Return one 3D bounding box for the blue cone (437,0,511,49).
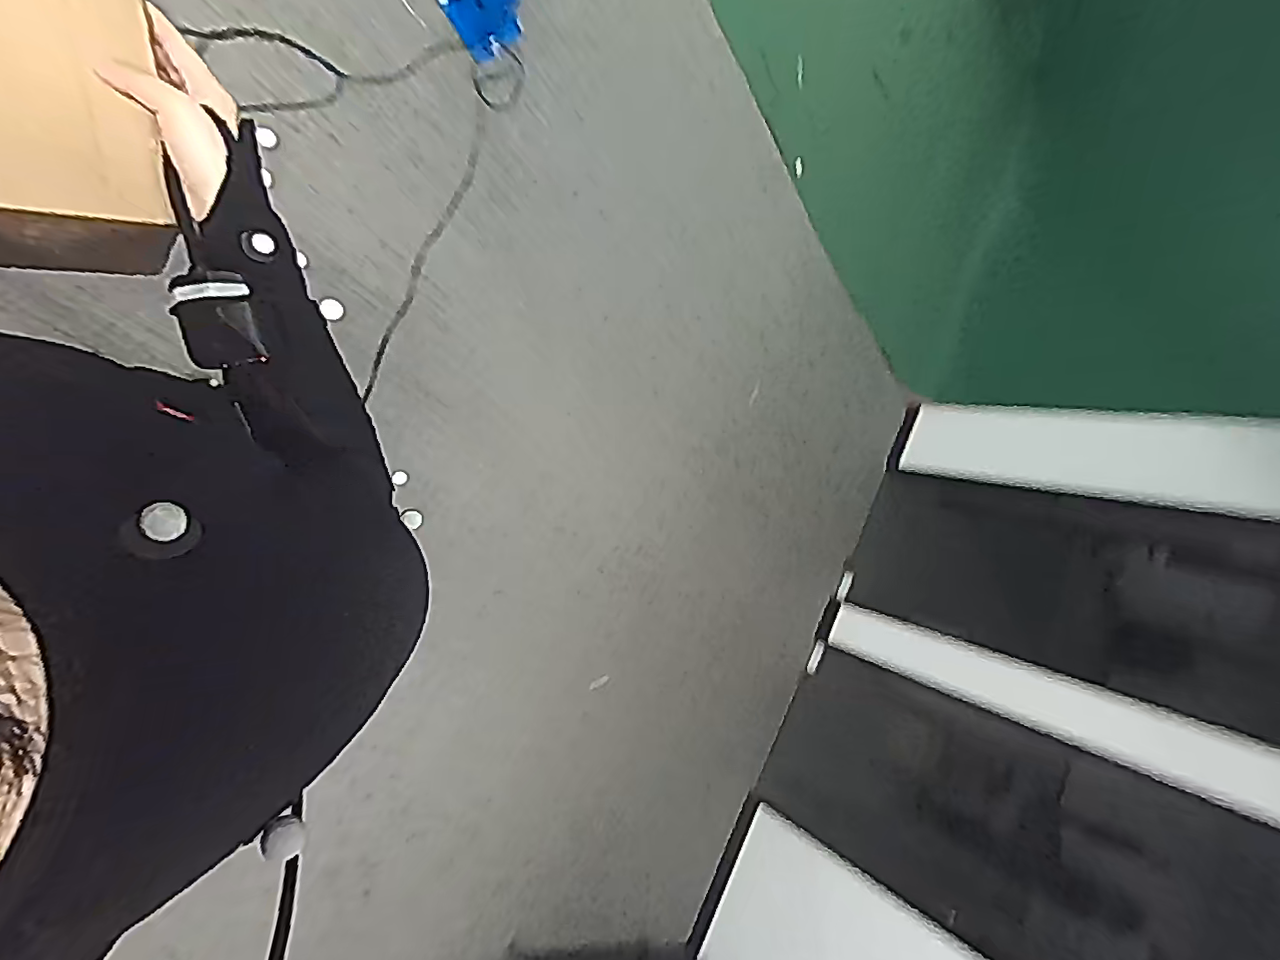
[{"bbox_3d":[-0.340,-1.247,1.311,0.192,0.380,0.193,-55,130,-20],"label":"blue cone"}]

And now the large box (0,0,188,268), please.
[{"bbox_3d":[-0.585,-0.326,0.335,0.408,0.320,0.320,-14,109,-43],"label":"large box"}]
